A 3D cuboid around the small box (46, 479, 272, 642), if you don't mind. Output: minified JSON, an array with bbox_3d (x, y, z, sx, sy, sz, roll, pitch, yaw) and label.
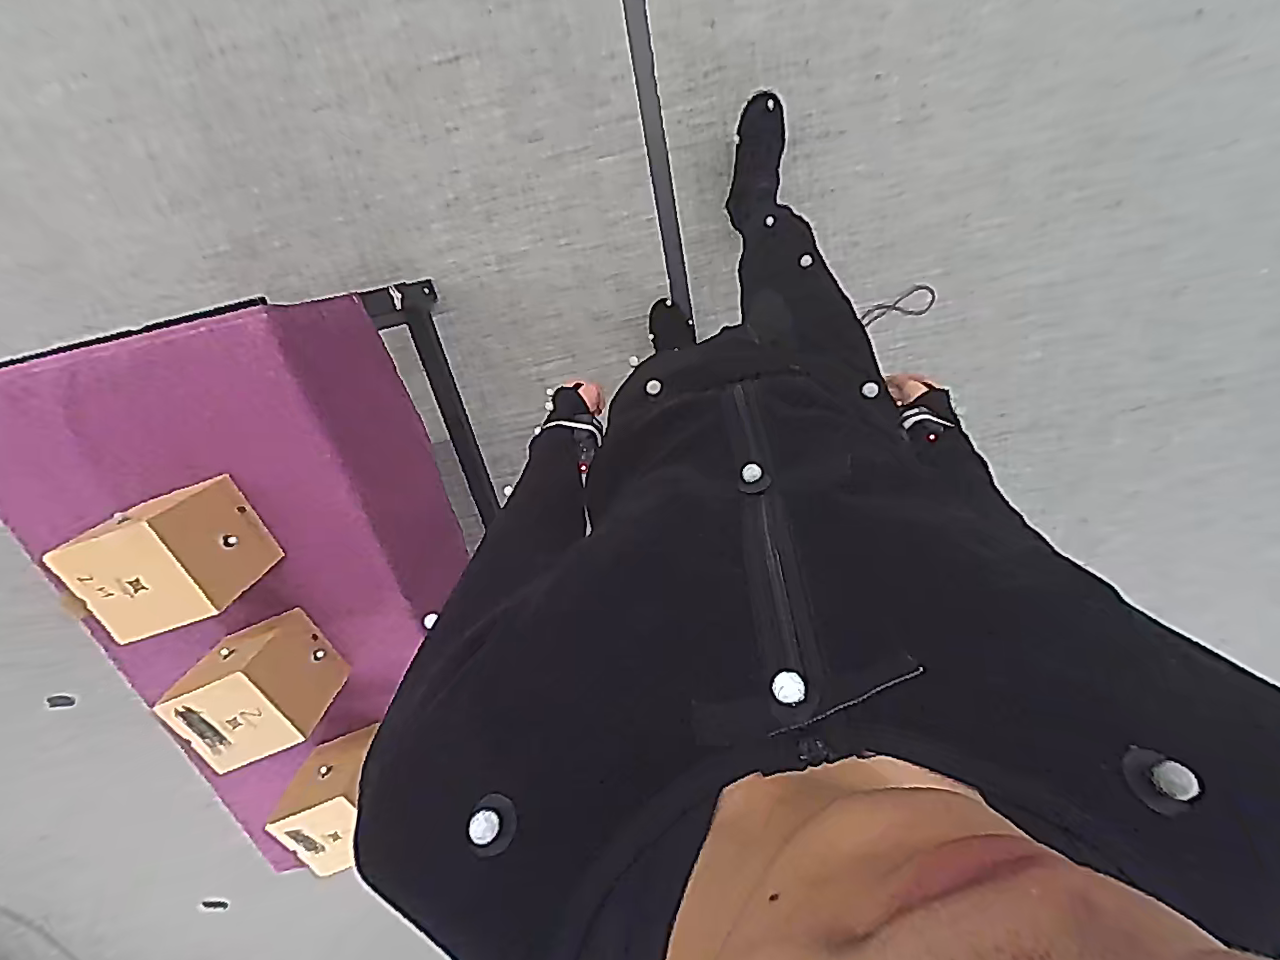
[{"bbox_3d":[-0.724,0.118,0.847,0.179,0.176,0.168,-17,113,7],"label":"small box"}]

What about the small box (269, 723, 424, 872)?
[{"bbox_3d":[-0.567,0.622,1.071,0.179,0.176,0.168,-24,112,9],"label":"small box"}]
